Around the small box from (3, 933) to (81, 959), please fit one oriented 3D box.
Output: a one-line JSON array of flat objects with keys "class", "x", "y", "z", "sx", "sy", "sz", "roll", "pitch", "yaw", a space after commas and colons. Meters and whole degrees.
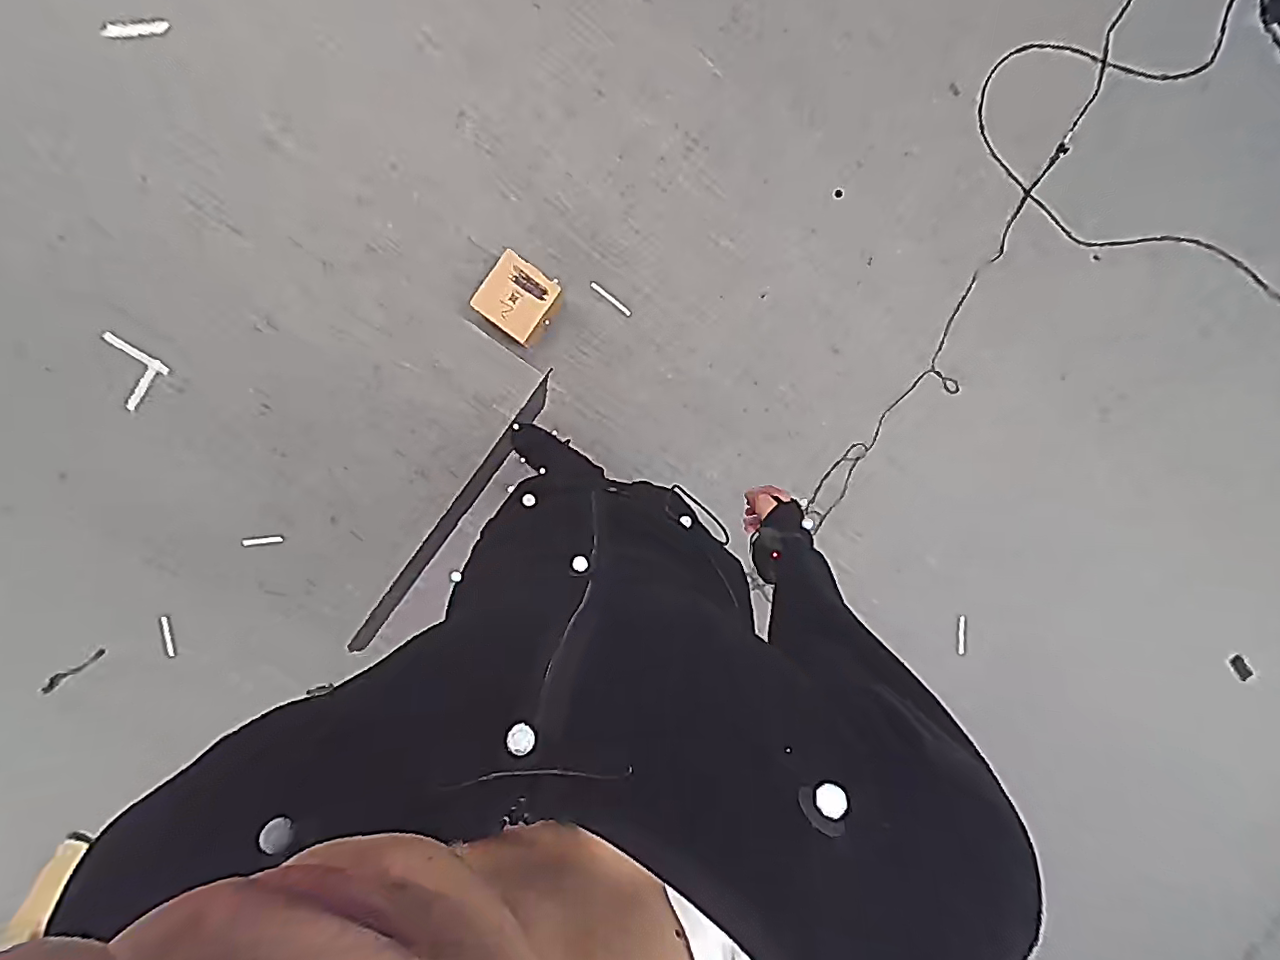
[{"class": "small box", "x": -1.802, "y": 1.486, "z": 1.568, "sx": 0.168, "sy": 0.176, "sz": 0.179, "roll": 31, "pitch": 94, "yaw": -10}]
